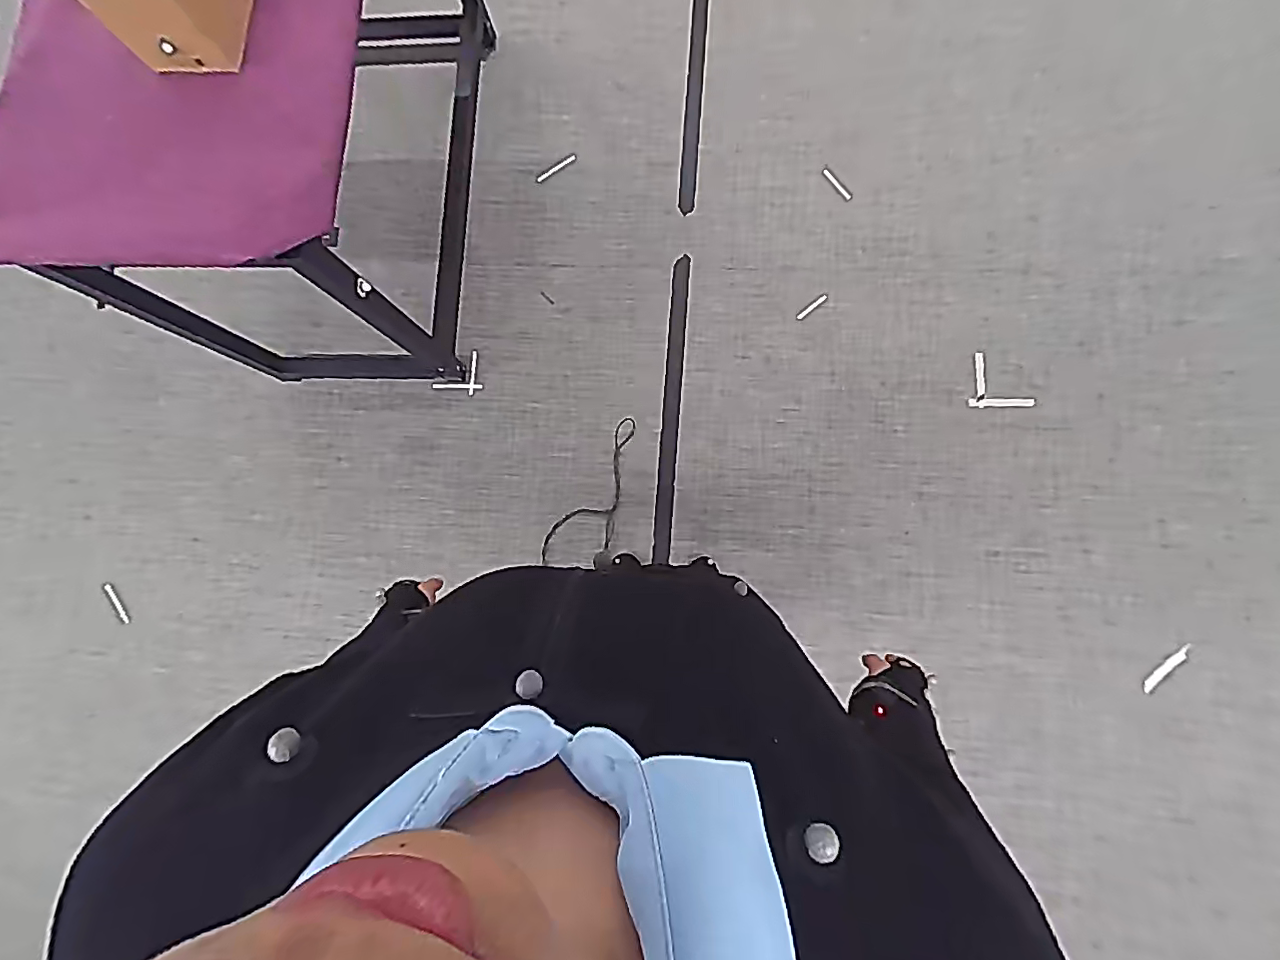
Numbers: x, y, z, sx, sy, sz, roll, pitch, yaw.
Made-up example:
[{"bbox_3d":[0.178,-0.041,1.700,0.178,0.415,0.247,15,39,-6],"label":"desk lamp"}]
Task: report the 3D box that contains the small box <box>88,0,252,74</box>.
[{"bbox_3d":[-0.782,-0.817,0.887,0.168,0.176,0.179,3,83,5],"label":"small box"}]
